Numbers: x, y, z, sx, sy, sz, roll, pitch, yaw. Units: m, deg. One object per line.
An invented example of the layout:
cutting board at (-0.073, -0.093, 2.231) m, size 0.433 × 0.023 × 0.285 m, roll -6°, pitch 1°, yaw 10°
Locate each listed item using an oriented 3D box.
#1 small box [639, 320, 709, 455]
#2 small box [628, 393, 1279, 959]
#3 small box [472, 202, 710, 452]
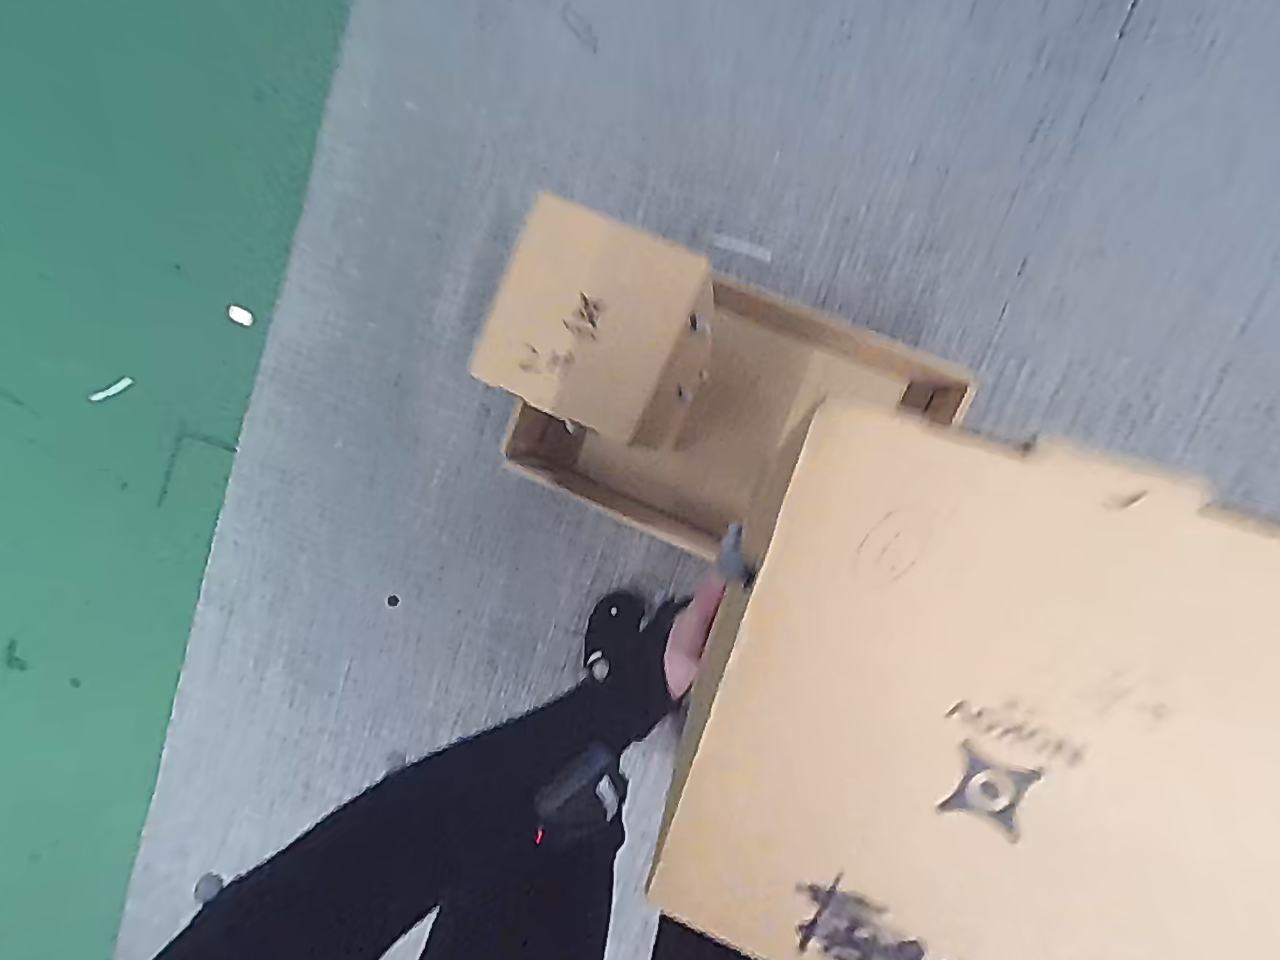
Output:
small box at (-0.018, -0.145, 0.723) m, size 0.168 × 0.176 × 0.179 m, roll 24°, pitch 96°, yaw 6°
small box at (0.111, 0.083, 0.224) m, size 0.168 × 0.176 × 0.179 m, roll 19°, pitch 93°, yaw 10°
small box at (-0.037, -0.140, 0.559) m, size 0.168 × 0.176 × 0.179 m, roll 25°, pitch 96°, yaw 7°
